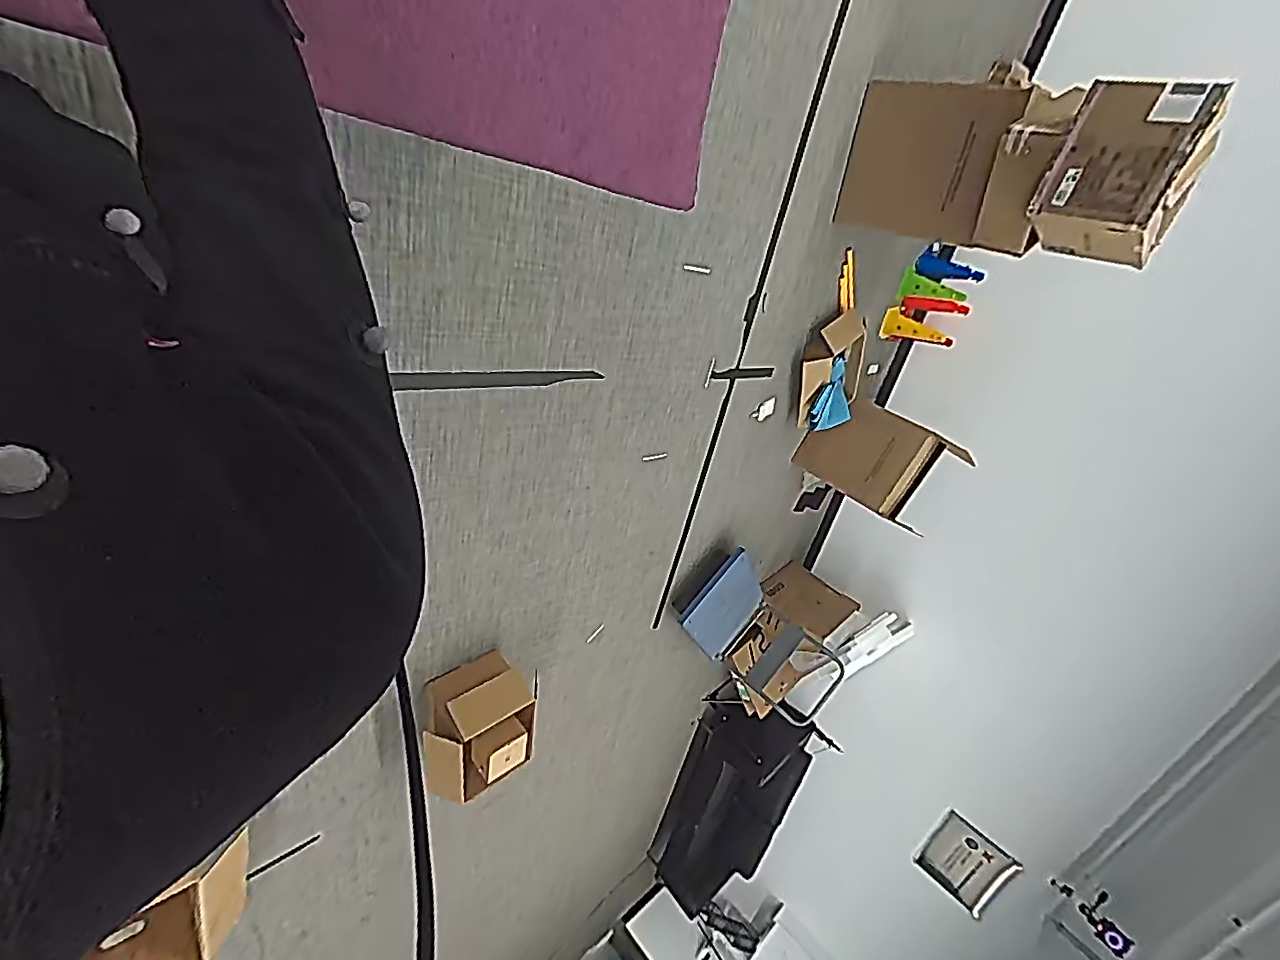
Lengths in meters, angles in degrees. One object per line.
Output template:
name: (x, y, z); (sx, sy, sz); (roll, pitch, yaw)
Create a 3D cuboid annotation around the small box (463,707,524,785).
small box: (-0.576, 1.031, 2.109); (0.168, 0.176, 0.179); (-17, 129, -43)
